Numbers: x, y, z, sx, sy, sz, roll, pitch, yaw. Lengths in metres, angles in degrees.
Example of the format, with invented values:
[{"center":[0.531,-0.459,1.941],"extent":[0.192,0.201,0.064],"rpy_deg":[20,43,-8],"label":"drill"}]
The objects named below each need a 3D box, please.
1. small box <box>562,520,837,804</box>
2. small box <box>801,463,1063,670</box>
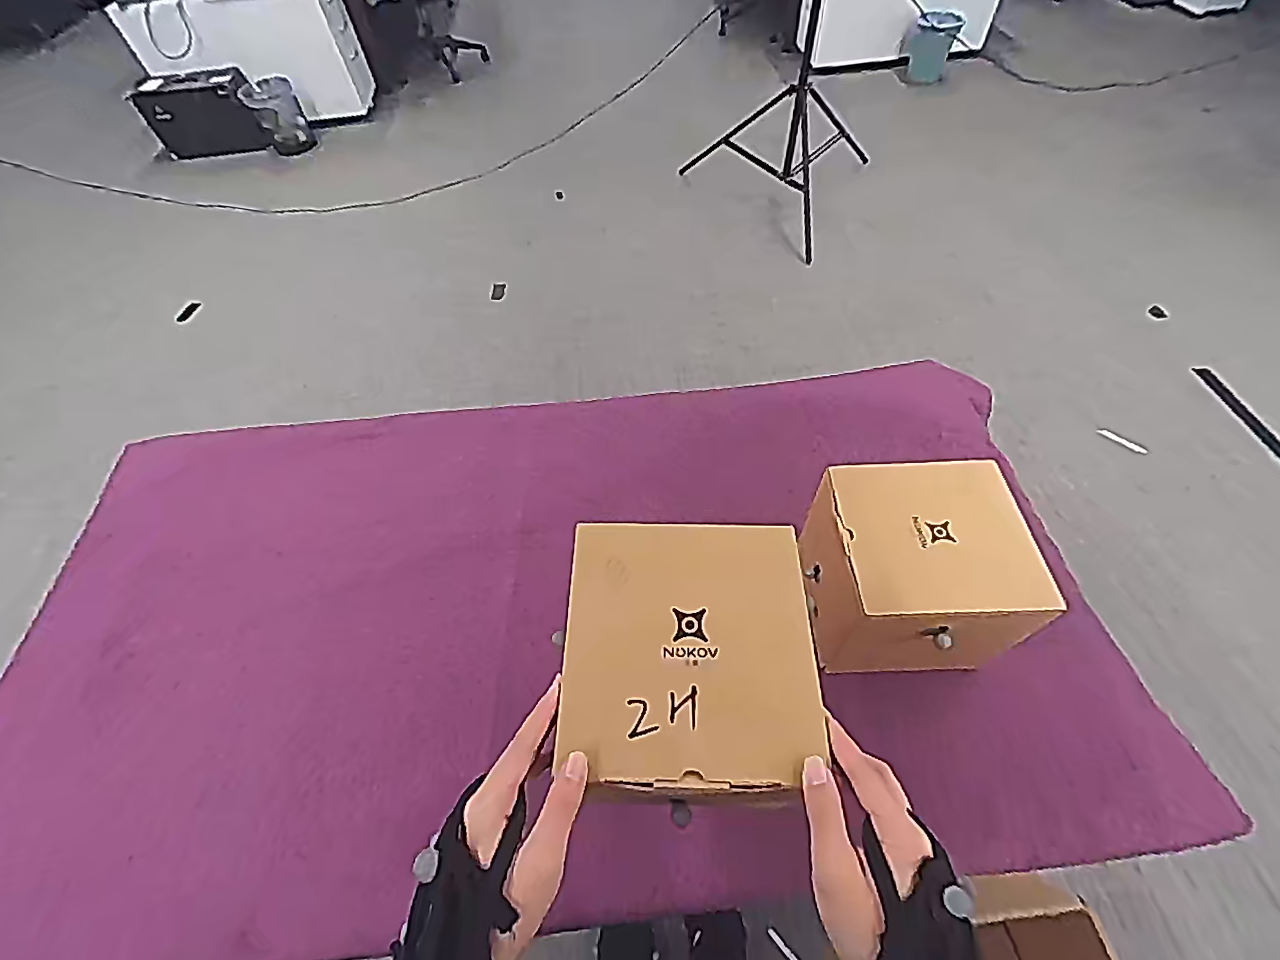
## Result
[{"center":[0.037,0.148,0.429],"extent":[0.168,0.176,0.179],"rpy_deg":[0,56,1],"label":"small box"},{"center":[0.287,0.098,0.582],"extent":[0.179,0.176,0.168],"rpy_deg":[-3,54,3],"label":"small box"}]
